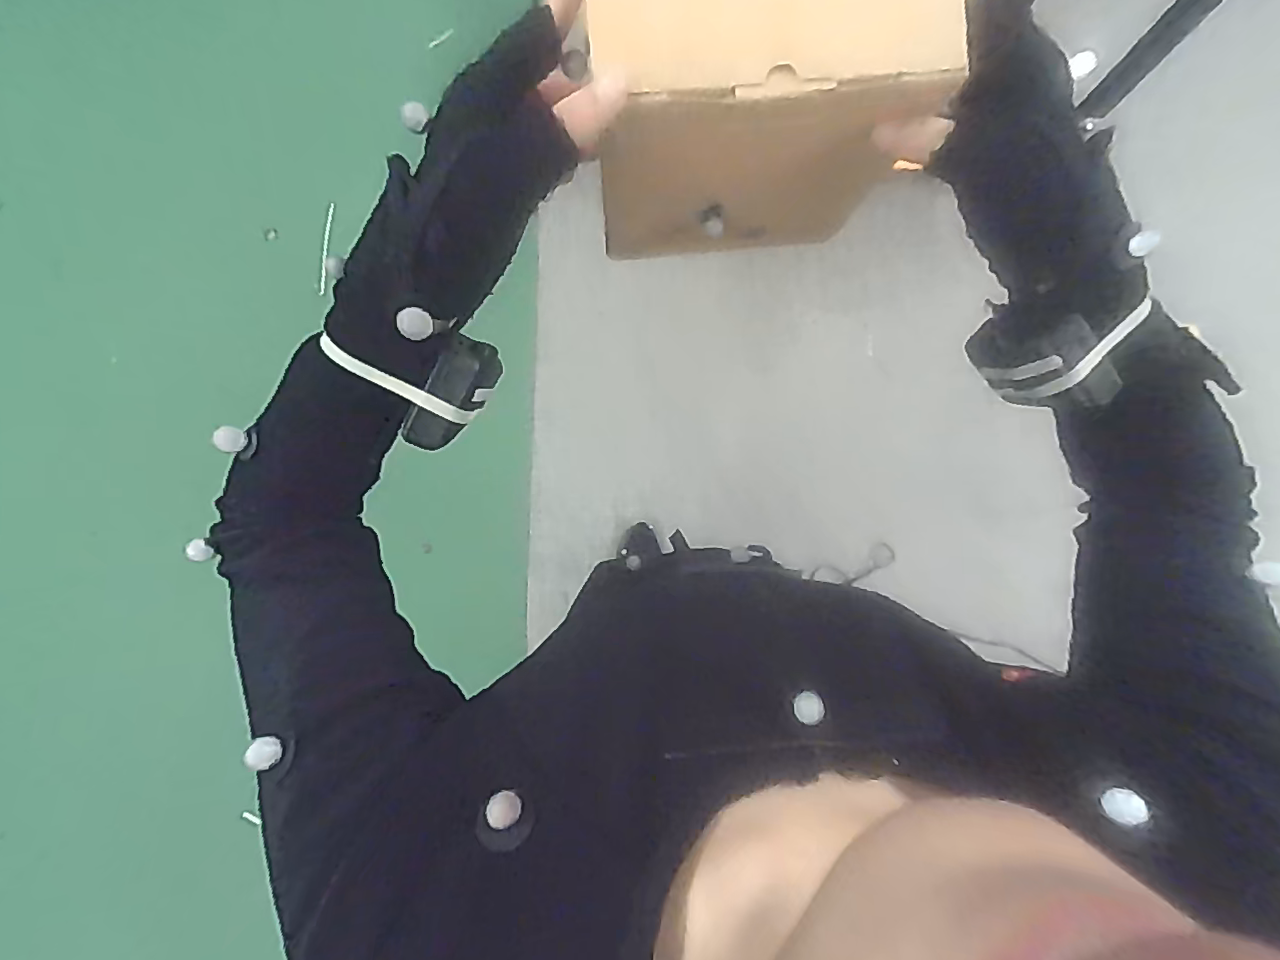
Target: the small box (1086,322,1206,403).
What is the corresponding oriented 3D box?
[{"bbox_3d":[1.397,-0.319,1.502,0.179,0.176,0.168,4,79,2],"label":"small box"}]
